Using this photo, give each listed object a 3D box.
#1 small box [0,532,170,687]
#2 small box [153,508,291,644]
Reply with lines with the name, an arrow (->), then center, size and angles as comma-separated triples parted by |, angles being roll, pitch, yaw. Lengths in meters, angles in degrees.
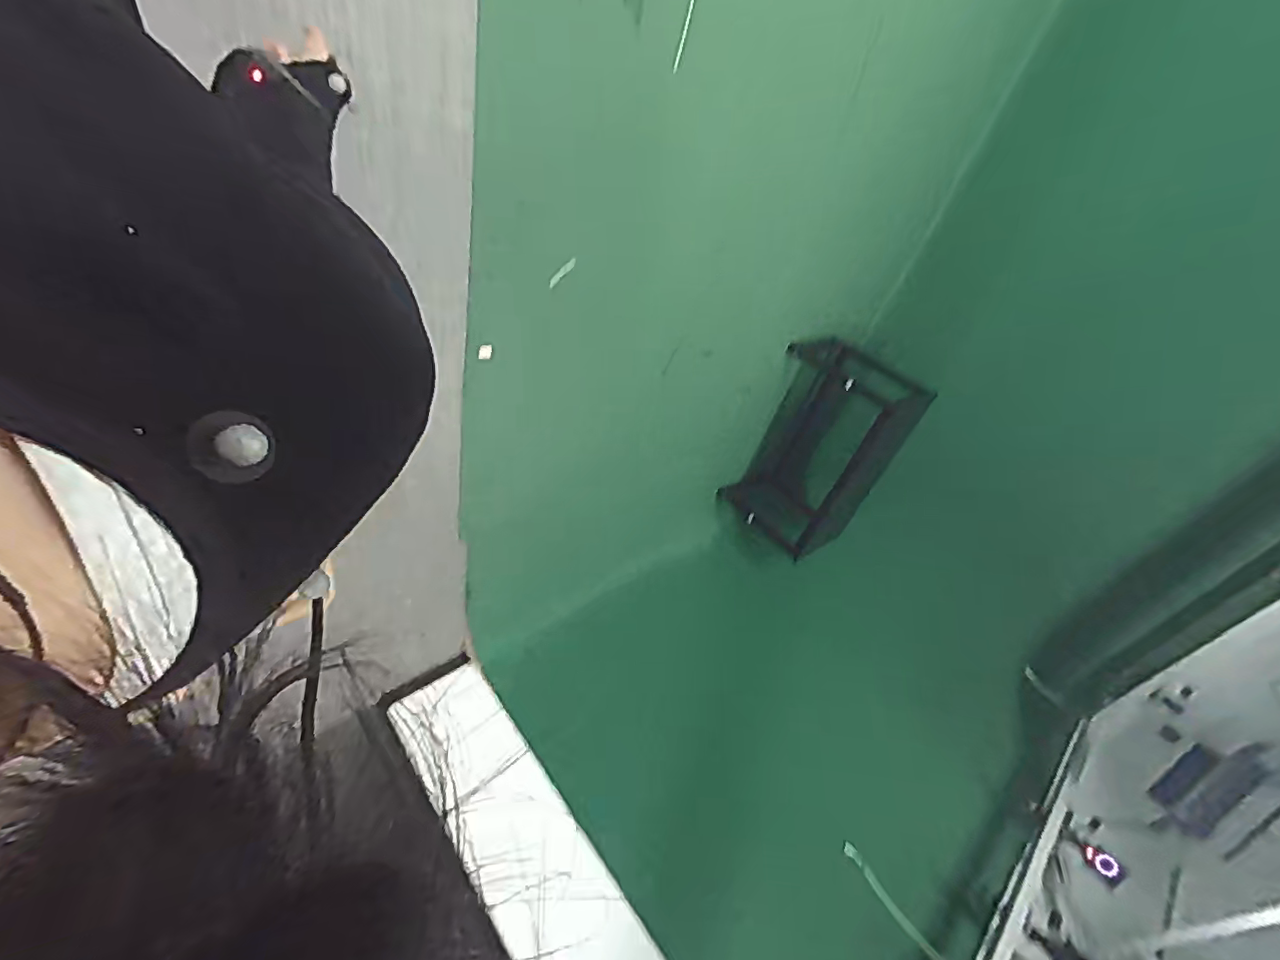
small box -> -0.980, 0.214, 0.942 | 0.168, 0.176, 0.179 | -30, 146, -31
small box -> -0.843, 0.188, 1.098 | 0.168, 0.176, 0.179 | -25, 144, -37
